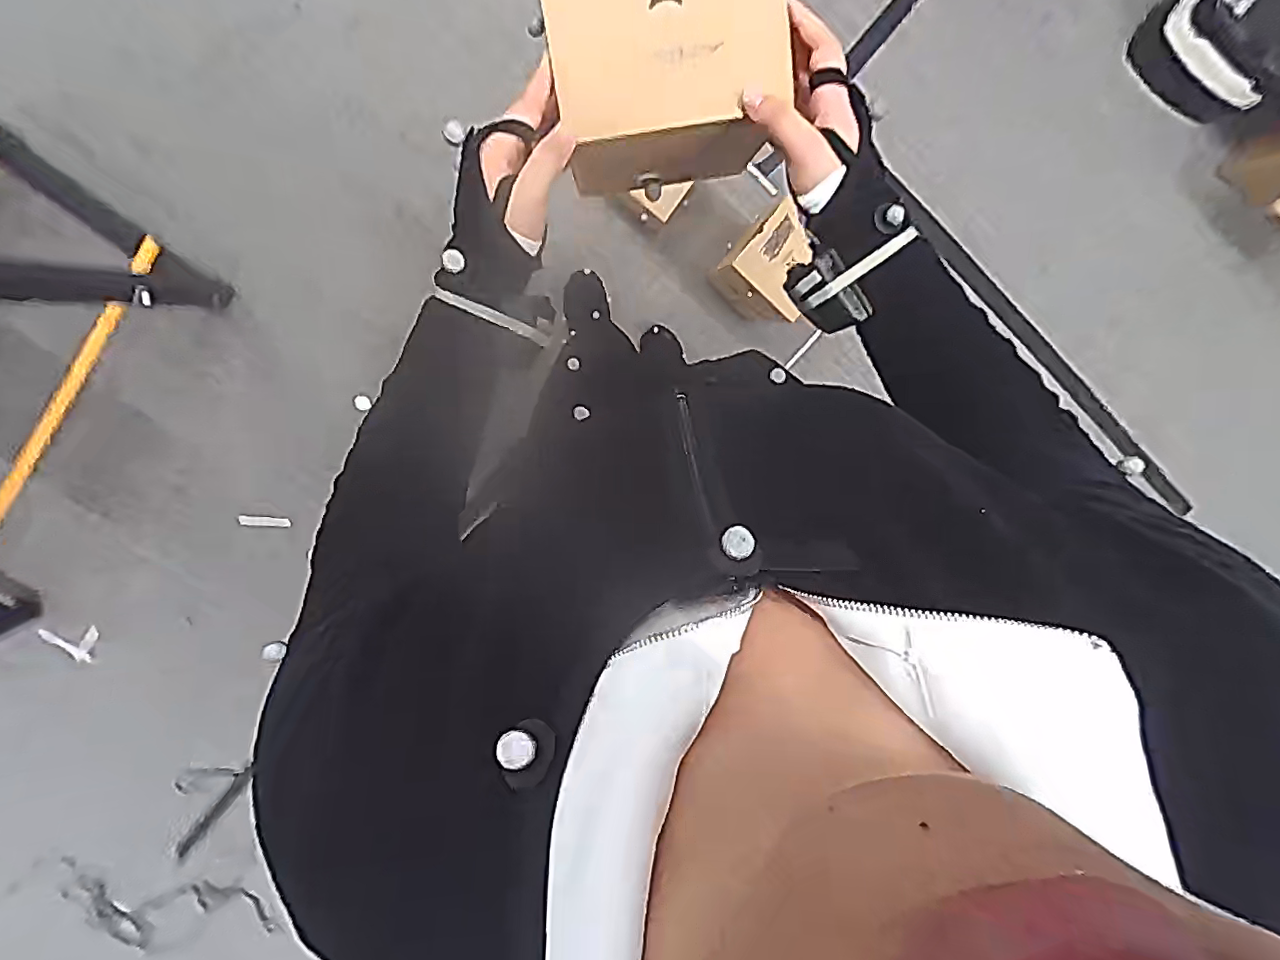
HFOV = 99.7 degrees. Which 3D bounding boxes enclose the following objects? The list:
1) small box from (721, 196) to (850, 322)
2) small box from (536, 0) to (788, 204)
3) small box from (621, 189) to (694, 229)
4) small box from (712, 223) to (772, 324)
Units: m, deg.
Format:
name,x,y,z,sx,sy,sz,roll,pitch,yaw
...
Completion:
name,x,y,z,sx,sy,sz,roll,pitch,yaw
small box,0.293,-0.451,1.134,0.179,0.176,0.168,39,102,-14
small box,0.008,-0.345,0.434,0.168,0.176,0.179,-10,105,0
small box,0.037,-0.693,1.220,0.179,0.176,0.168,36,102,-12
small box,0.290,-0.496,1.294,0.168,0.176,0.179,41,102,-13
